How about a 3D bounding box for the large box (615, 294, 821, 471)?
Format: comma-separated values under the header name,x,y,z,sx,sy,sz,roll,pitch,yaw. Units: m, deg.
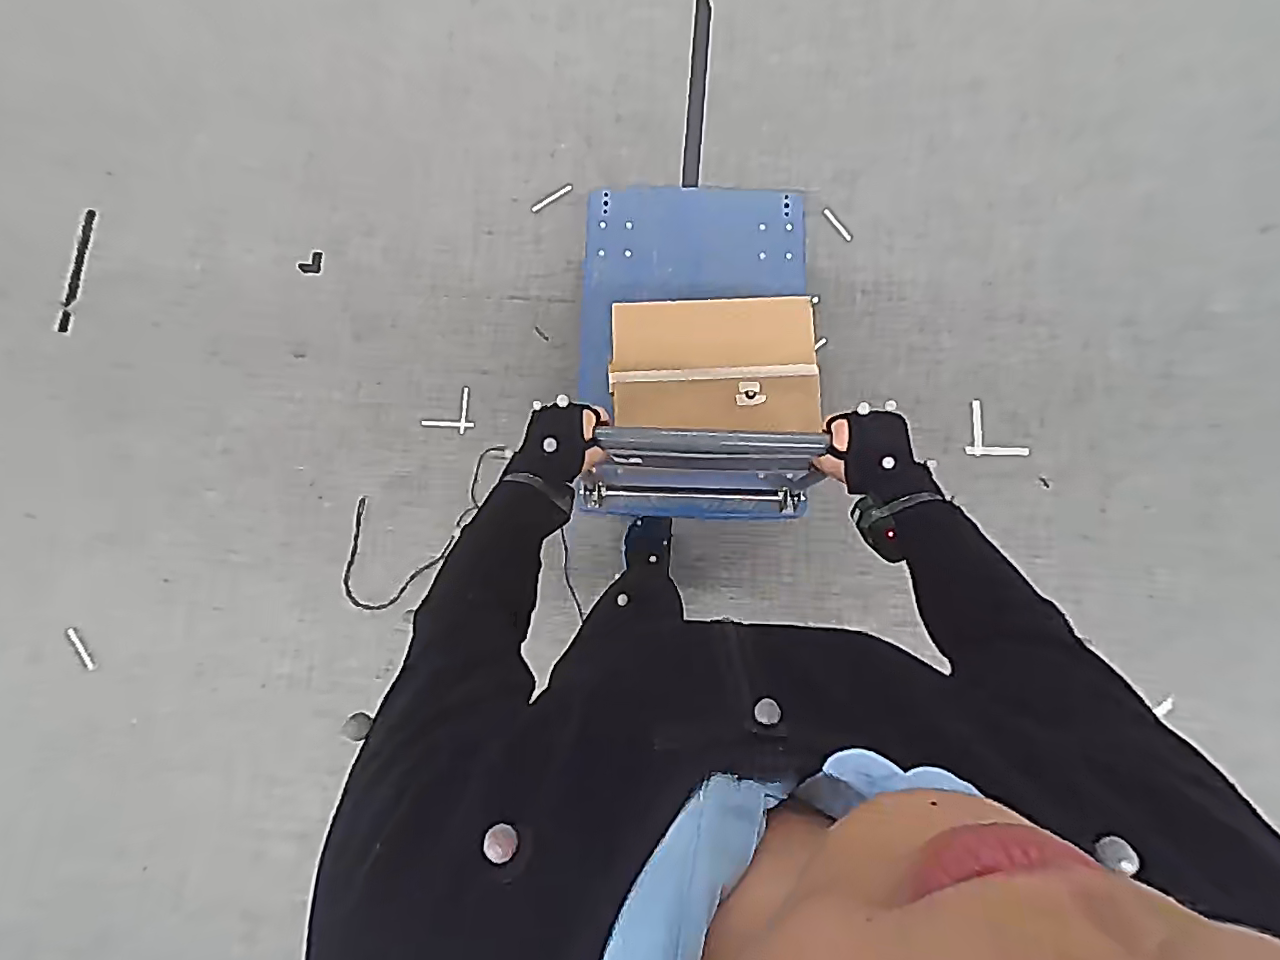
name,x,y,z,sx,sy,sz,roll,pitch,yaw
large box,0.154,-0.201,1.231,0.408,0.320,0.320,-2,83,0
